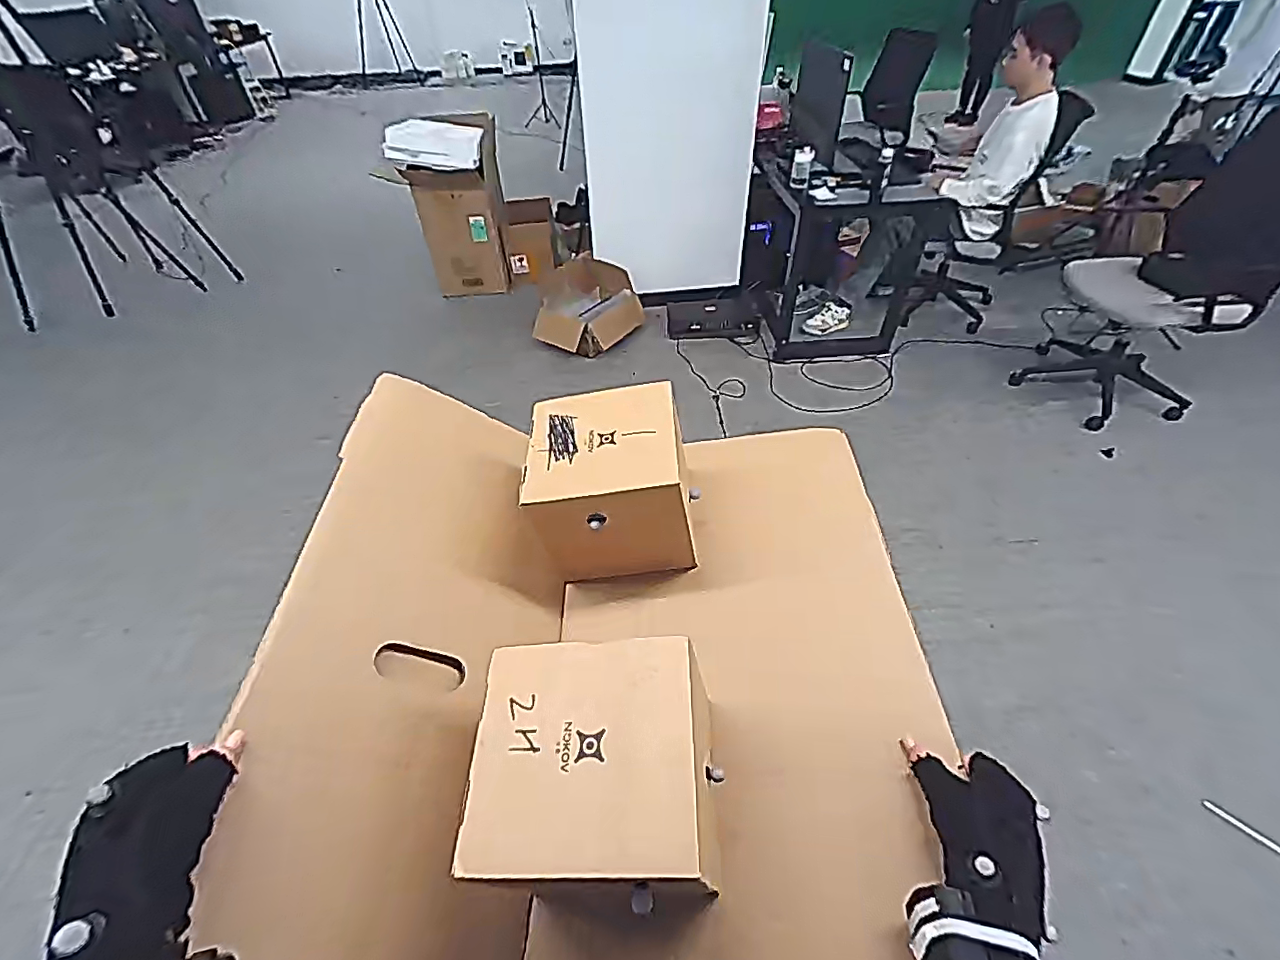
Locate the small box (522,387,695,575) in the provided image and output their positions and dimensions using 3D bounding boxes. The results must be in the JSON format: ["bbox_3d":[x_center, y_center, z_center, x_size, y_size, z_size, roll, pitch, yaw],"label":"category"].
[{"bbox_3d":[-0.030,0.008,0.689,0.179,0.176,0.168,-7,49,7],"label":"small box"}]
